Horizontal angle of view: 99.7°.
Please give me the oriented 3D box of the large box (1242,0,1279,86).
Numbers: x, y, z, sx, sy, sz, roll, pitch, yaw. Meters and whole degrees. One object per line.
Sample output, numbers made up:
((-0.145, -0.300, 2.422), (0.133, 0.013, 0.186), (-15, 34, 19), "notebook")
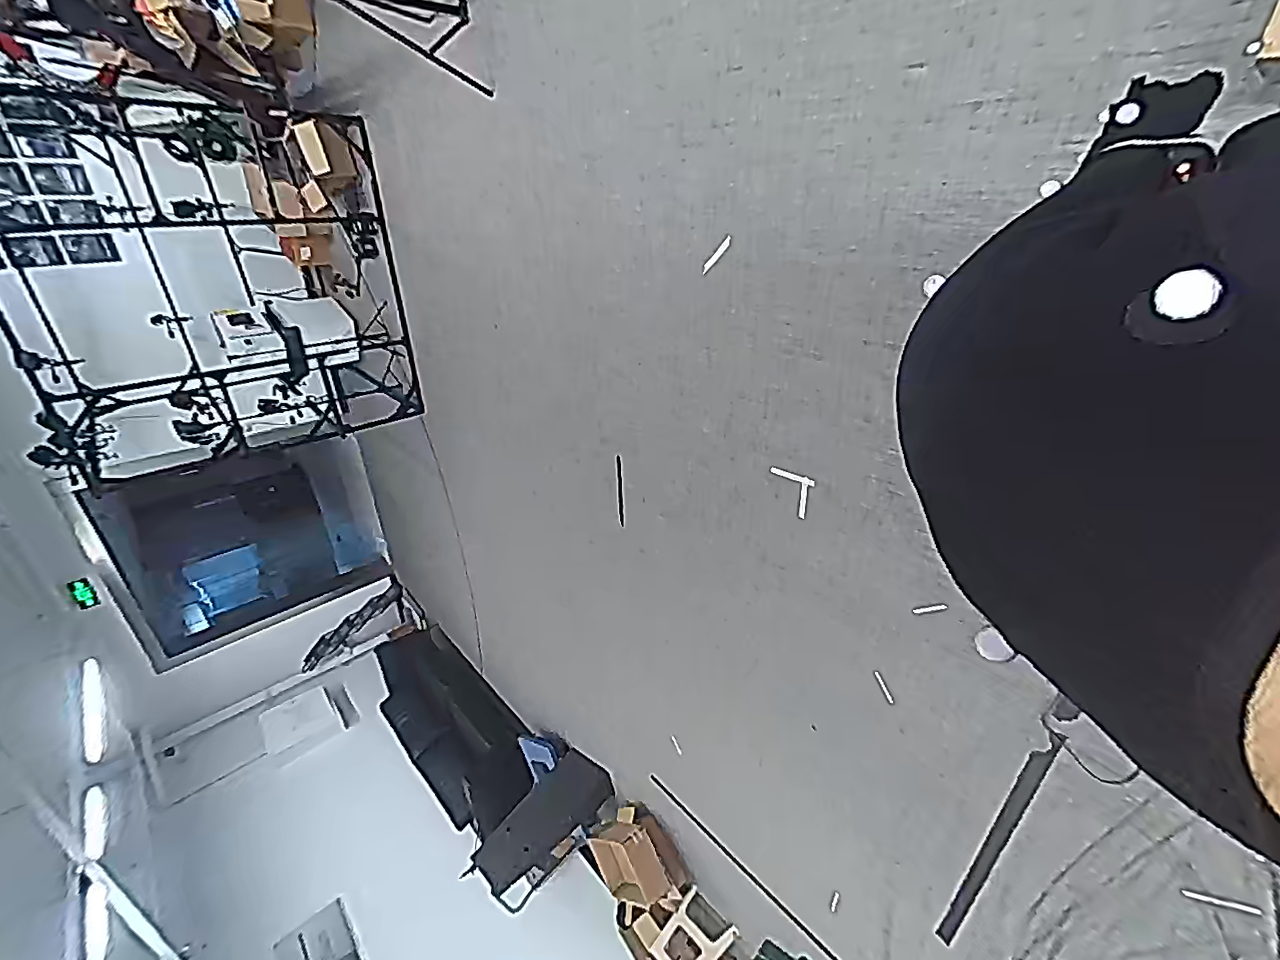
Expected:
((1.059, -0.670, 0.618), (0.408, 0.320, 0.320), (29, 129, 40), "large box")
